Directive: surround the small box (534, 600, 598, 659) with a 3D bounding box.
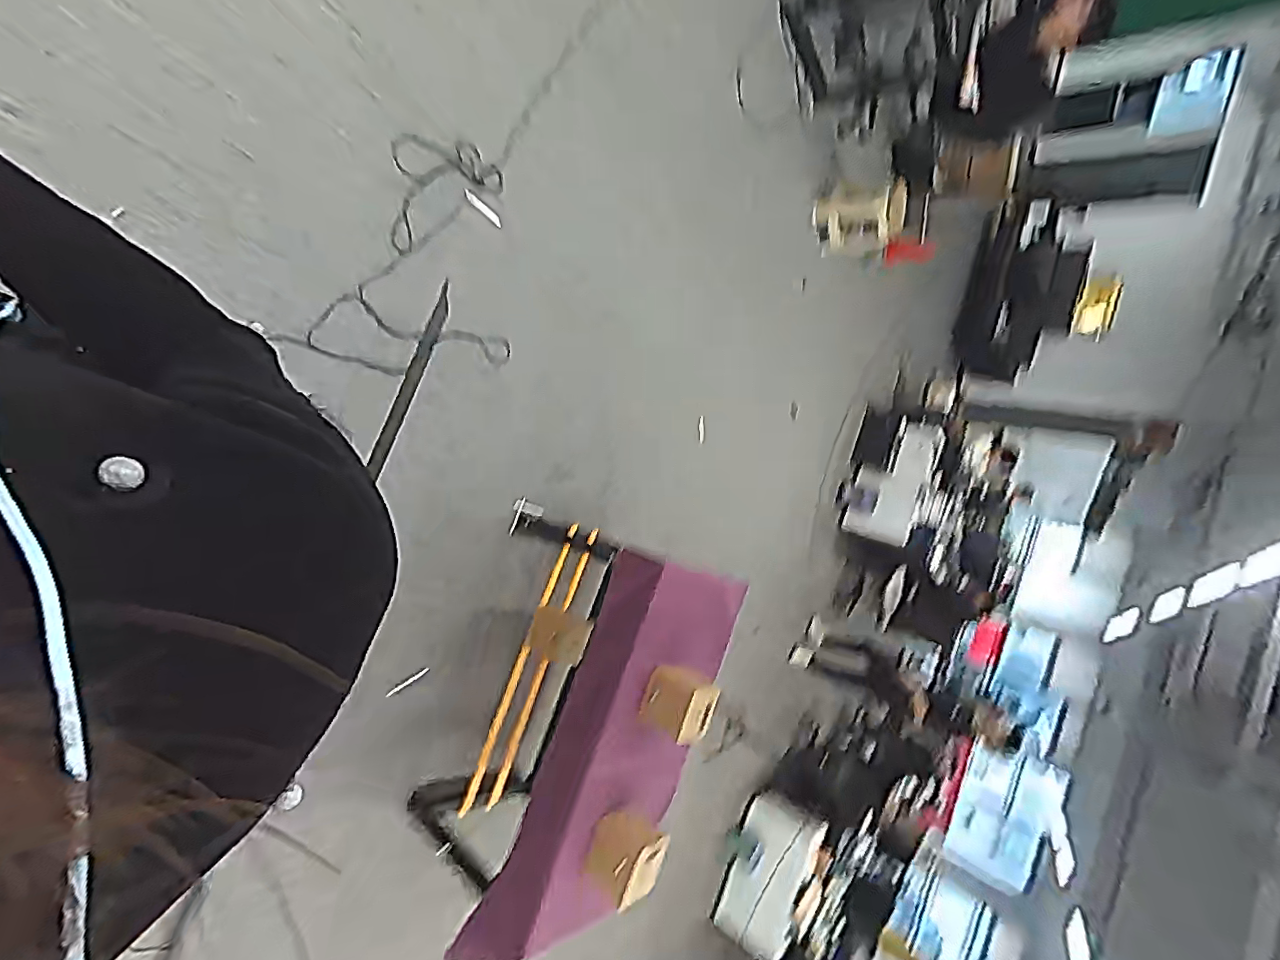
[{"bbox_3d":[-0.302,0.601,2.175,0.168,0.176,0.179,23,85,-52],"label":"small box"}]

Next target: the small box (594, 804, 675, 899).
[{"bbox_3d":[-0.021,1.161,1.713,0.168,0.176,0.179,24,84,-51],"label":"small box"}]
